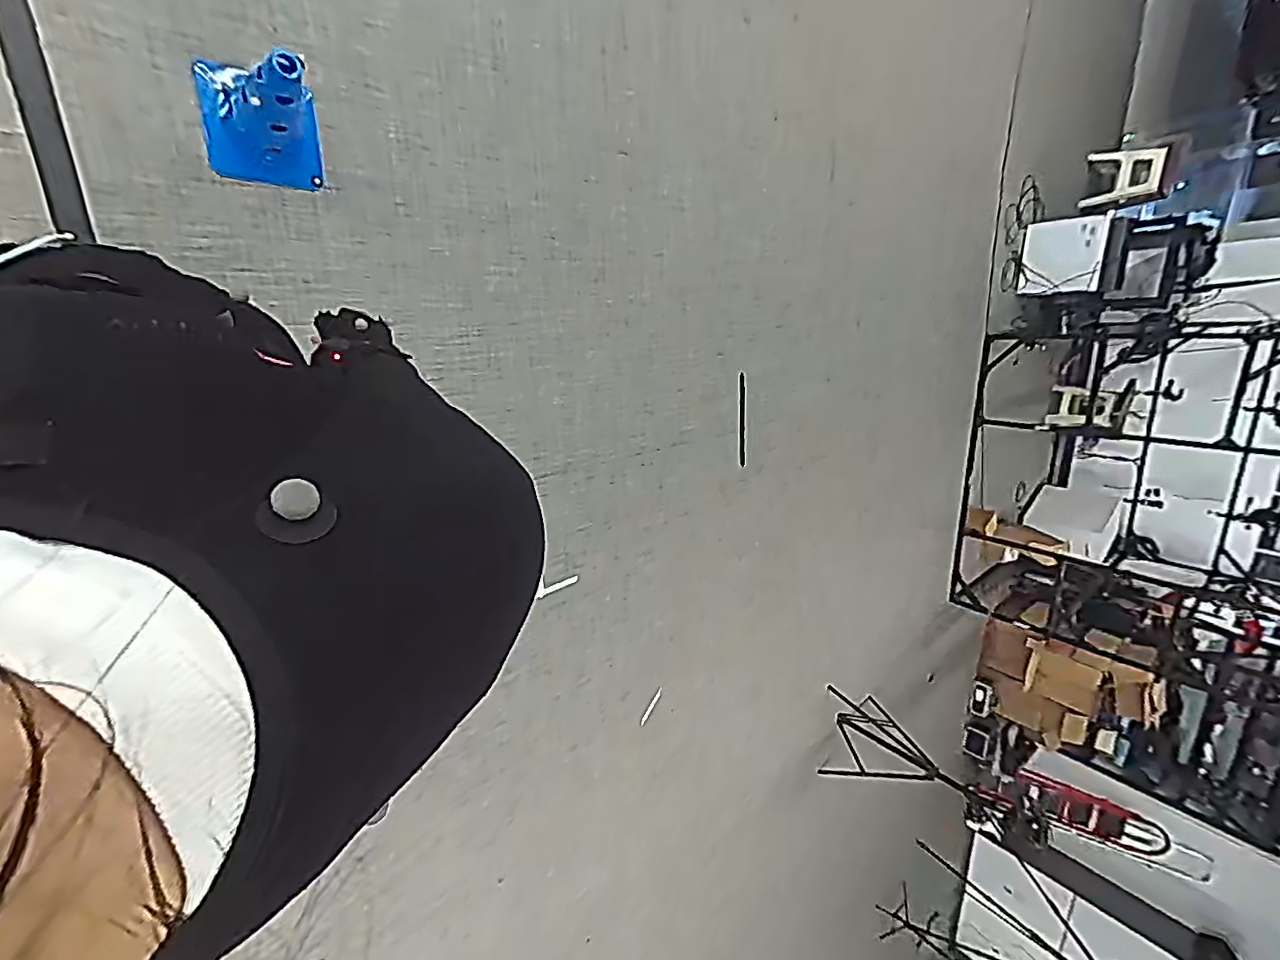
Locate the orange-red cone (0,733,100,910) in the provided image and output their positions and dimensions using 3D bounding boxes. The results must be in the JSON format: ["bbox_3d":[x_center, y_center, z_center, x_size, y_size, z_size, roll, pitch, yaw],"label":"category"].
[{"bbox_3d":[-1.104,0.644,0.933,0.199,0.360,0.198,-8,105,-37],"label":"orange-red cone"}]

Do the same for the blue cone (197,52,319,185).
[{"bbox_3d":[-0.665,-0.684,0.978,0.192,0.380,0.193,-10,108,-39],"label":"blue cone"}]
